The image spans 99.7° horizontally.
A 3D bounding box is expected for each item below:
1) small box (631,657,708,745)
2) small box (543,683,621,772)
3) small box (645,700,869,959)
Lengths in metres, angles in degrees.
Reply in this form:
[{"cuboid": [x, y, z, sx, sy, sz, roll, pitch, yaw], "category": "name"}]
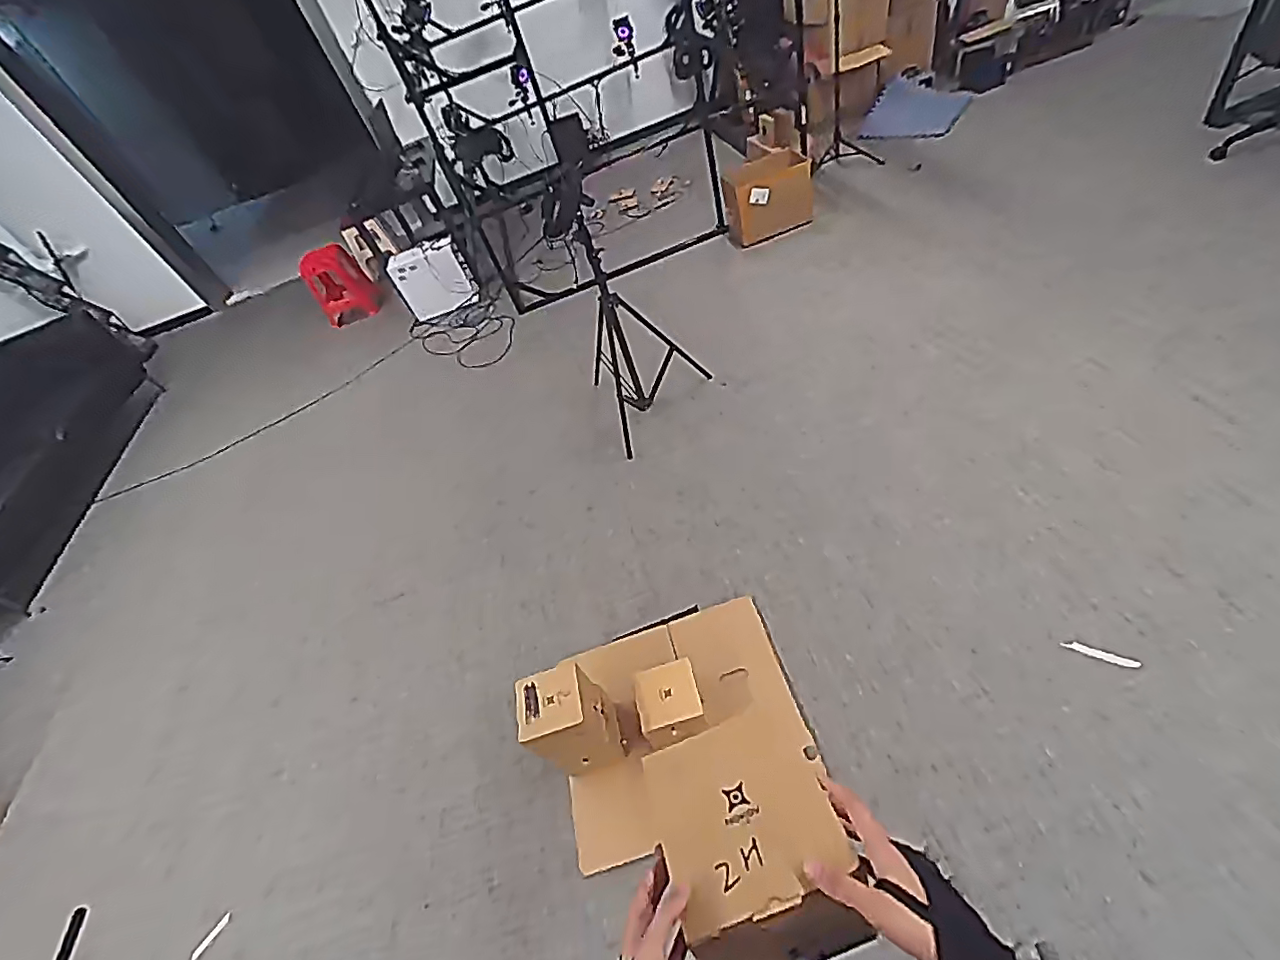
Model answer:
[{"cuboid": [0.089, 0.637, 1.553, 0.179, 0.176, 0.168, -19, 47, 3], "category": "small box"}, {"cuboid": [-0.163, 0.720, 1.569, 0.179, 0.176, 0.168, -21, 46, 3], "category": "small box"}, {"cuboid": [0.120, 0.380, 0.575, 0.168, 0.176, 0.179, -22, 32, -1], "category": "small box"}]
